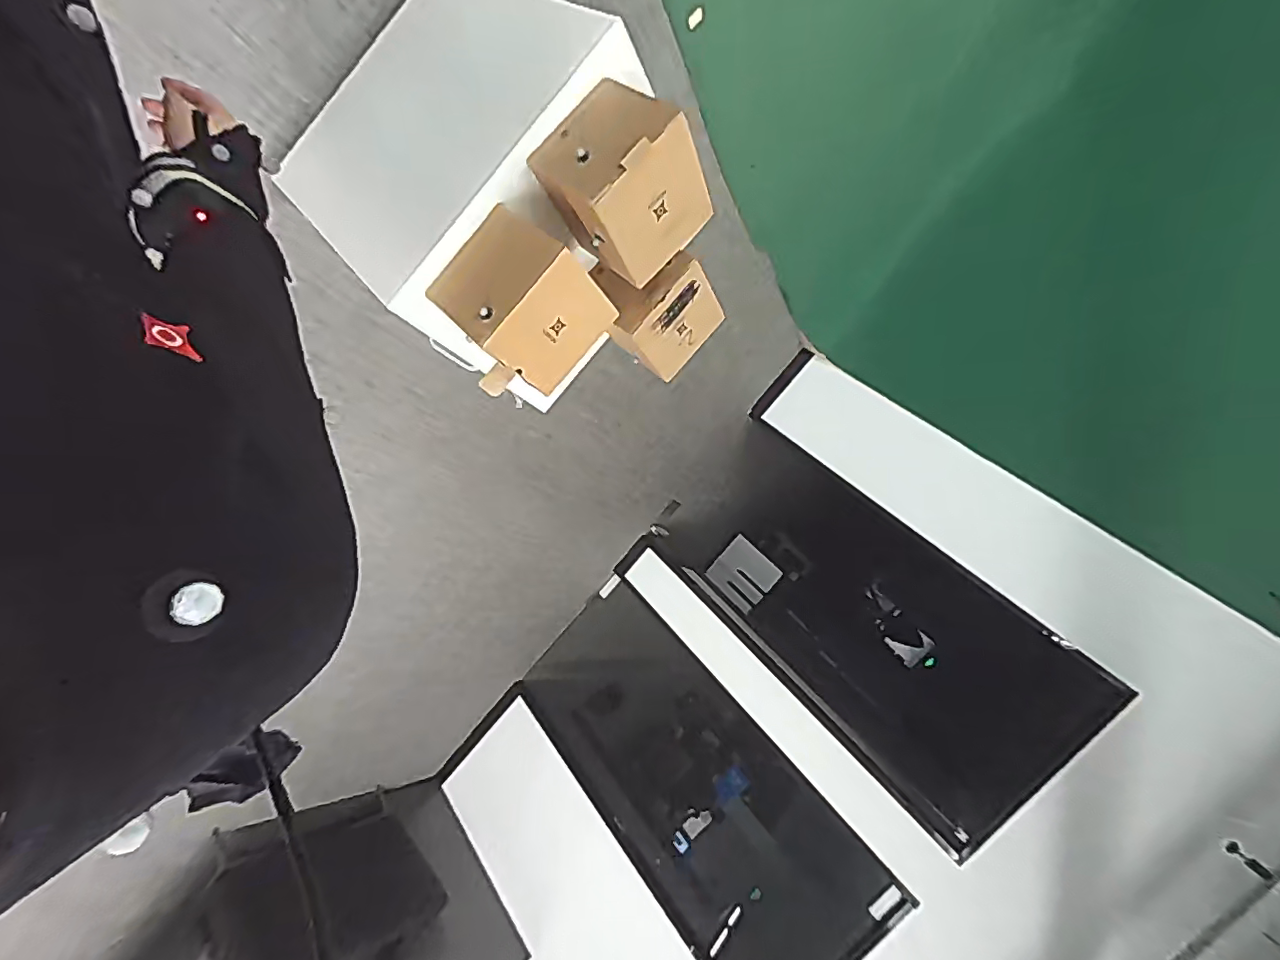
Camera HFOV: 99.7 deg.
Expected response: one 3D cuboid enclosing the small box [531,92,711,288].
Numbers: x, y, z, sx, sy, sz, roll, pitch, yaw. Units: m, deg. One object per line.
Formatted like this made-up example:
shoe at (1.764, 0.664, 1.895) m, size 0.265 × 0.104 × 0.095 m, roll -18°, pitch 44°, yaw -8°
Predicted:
small box at (-0.027, -0.428, 0.796) m, size 0.168 × 0.176 × 0.179 m, roll -46°, pitch 153°, yaw 2°
